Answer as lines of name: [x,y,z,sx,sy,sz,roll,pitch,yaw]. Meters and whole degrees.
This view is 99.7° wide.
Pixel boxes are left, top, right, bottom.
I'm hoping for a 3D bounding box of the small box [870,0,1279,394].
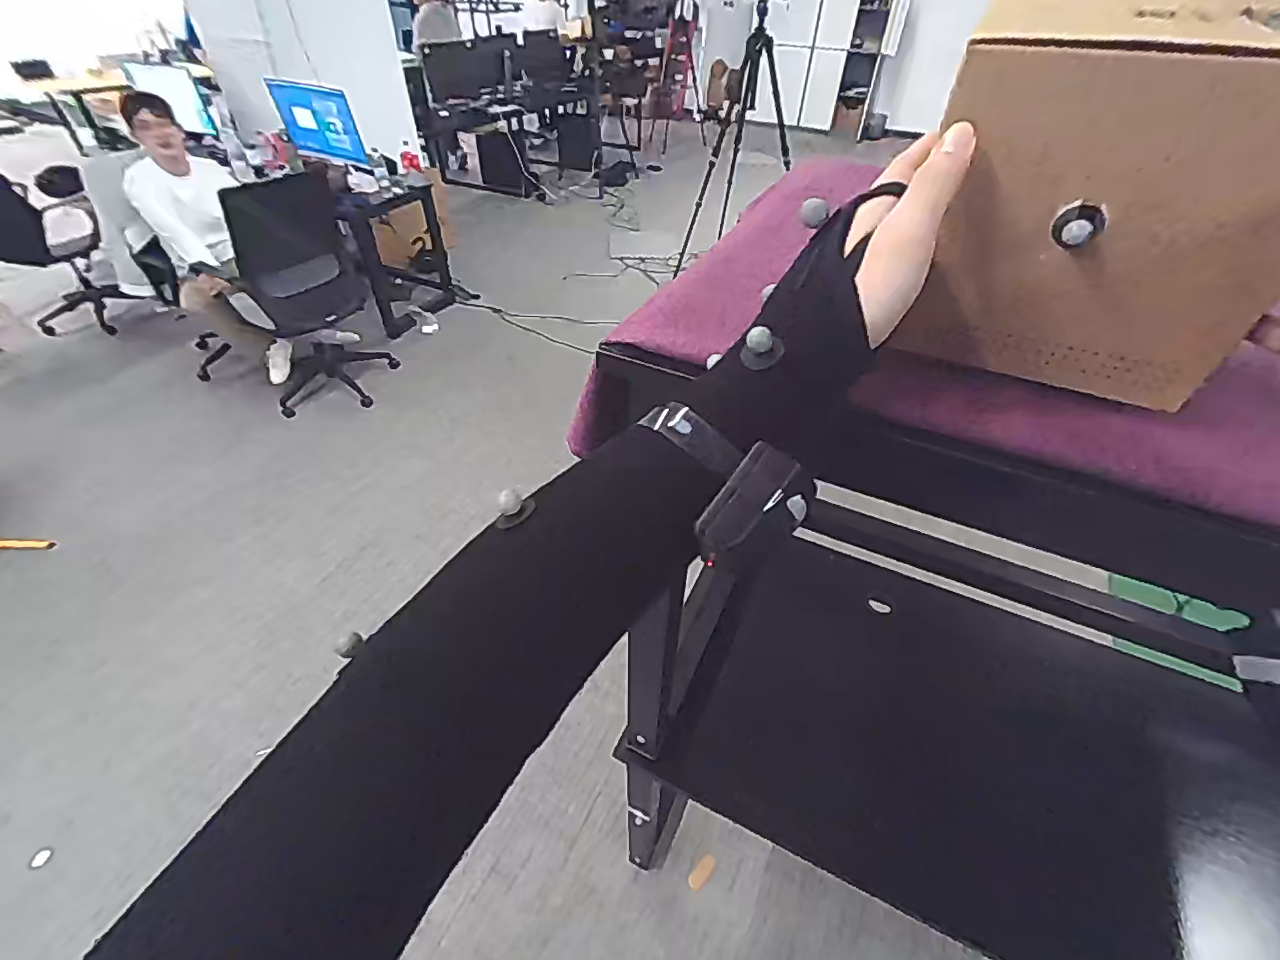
small box: [0.264,-0.175,0.324,0.179,0.176,0.168,20,53,20]
